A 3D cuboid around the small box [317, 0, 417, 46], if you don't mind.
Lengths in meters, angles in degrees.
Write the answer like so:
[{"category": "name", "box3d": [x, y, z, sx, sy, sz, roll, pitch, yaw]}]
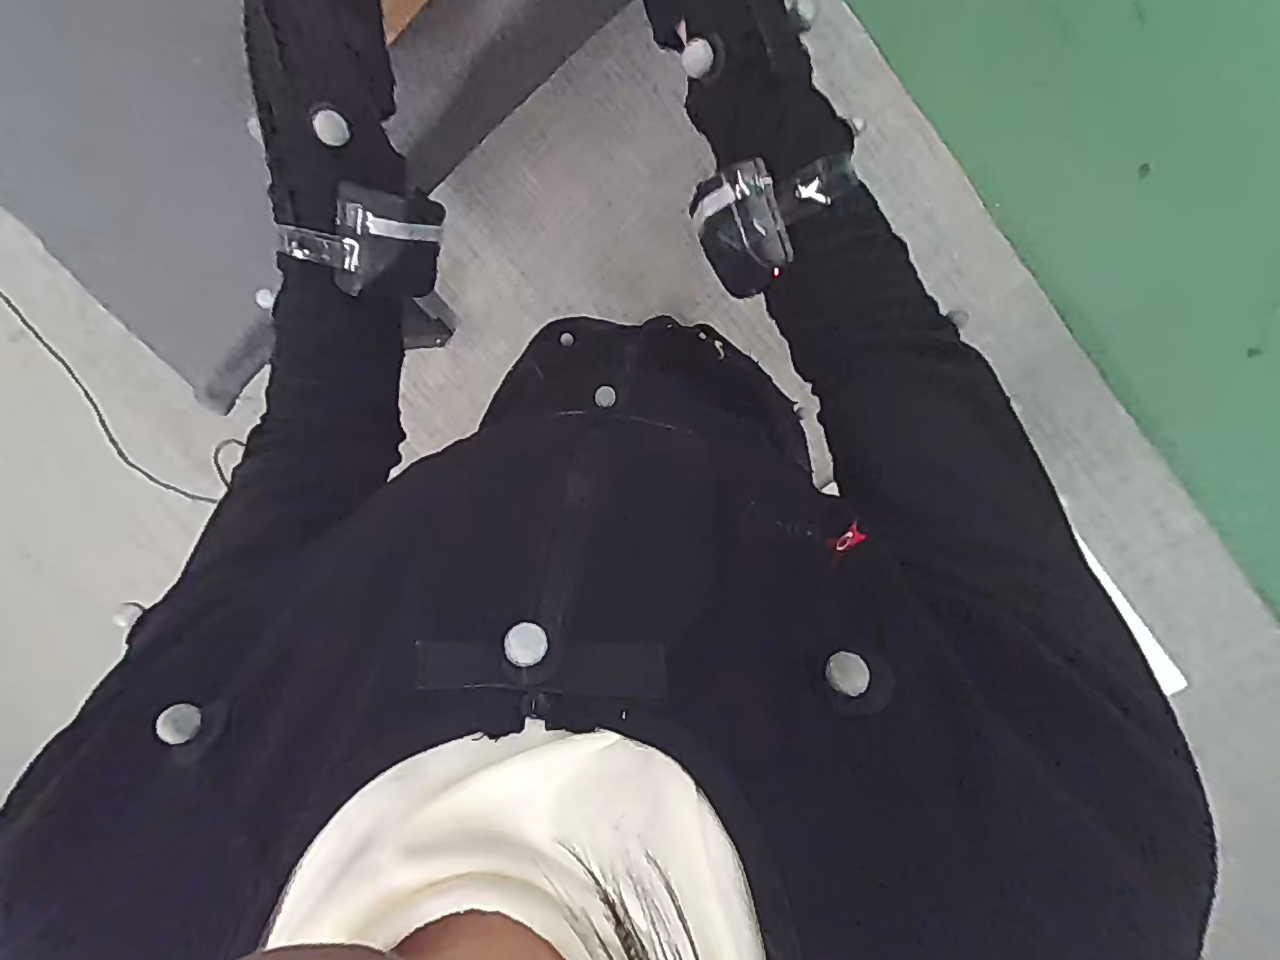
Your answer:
[{"category": "small box", "box3d": [-0.272, -0.541, 0.468, 0.179, 0.176, 0.168, -37, 99, 14]}]
